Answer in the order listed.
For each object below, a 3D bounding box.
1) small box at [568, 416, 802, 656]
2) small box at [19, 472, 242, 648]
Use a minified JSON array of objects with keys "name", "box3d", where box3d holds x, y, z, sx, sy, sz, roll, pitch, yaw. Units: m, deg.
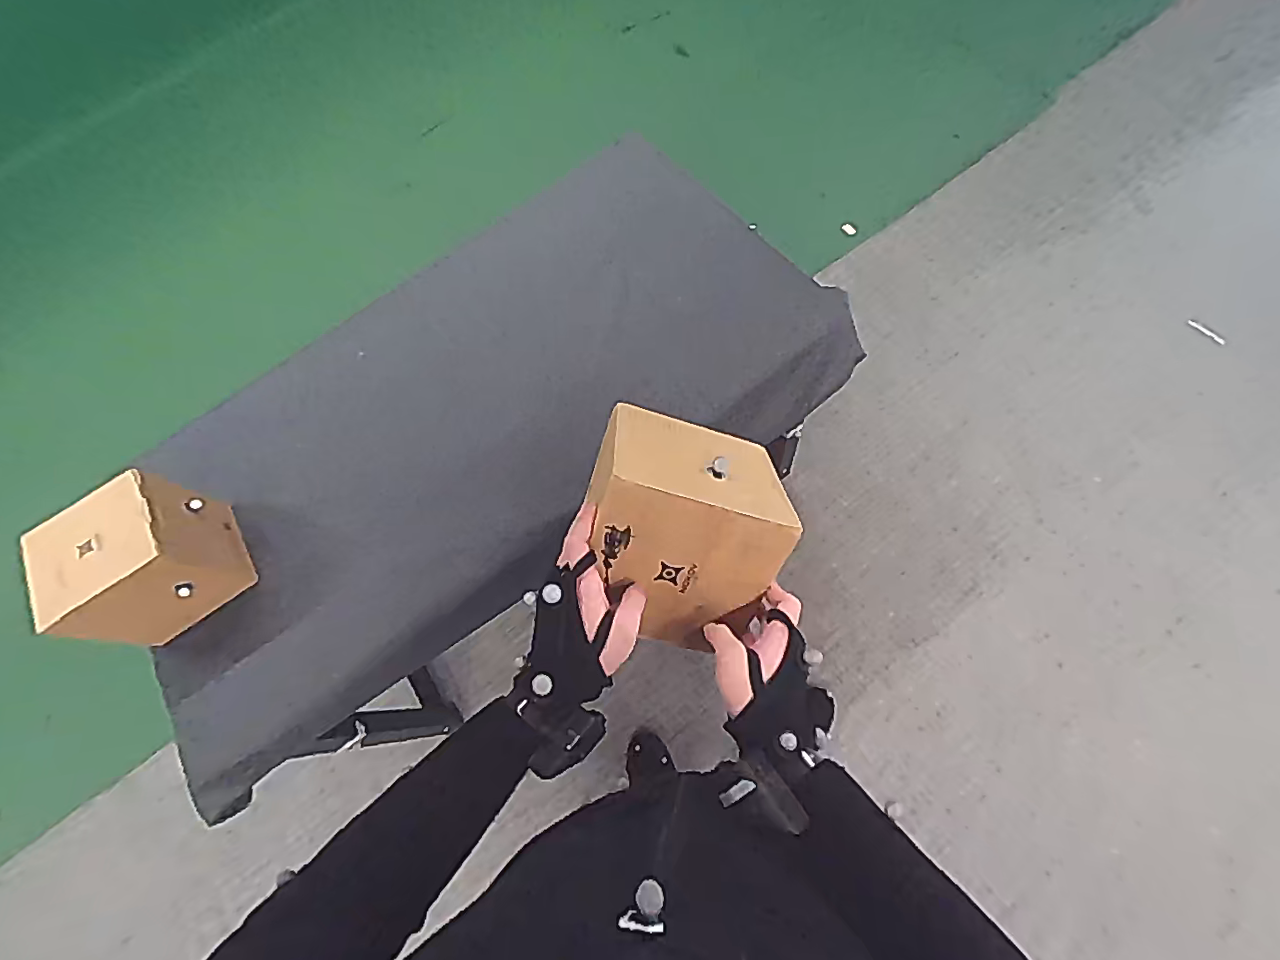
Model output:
[{"name":"small box","box3d":[0.035,0.051,0.568,0.179,0.168,0.176,16,27,-11]},{"name":"small box","box3d":[-0.729,0.124,0.794,0.179,0.176,0.168,-34,65,-6]}]
